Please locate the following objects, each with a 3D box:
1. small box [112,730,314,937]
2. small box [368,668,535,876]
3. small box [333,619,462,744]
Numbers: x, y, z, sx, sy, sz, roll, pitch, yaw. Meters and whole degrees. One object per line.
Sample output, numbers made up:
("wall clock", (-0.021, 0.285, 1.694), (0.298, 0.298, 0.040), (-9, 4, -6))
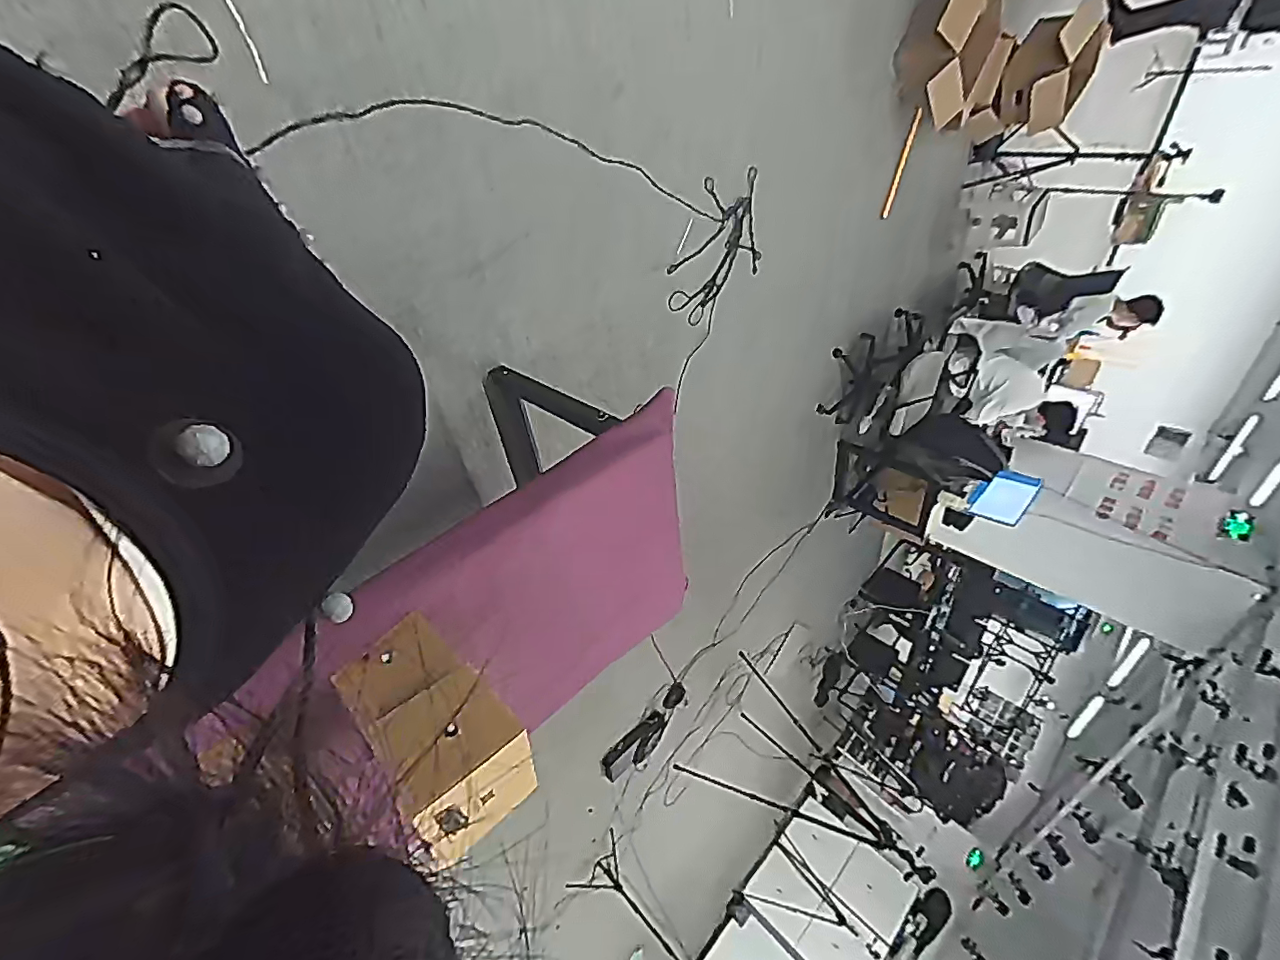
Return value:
("small box", (-0.597, 0.506, 0.771), (0.179, 0.176, 0.168), (-39, 137, -28))
("small box", (-0.284, 0.427, 0.815), (0.179, 0.176, 0.168), (-29, 133, -37))
("small box", (-0.386, 0.374, 0.936), (0.168, 0.176, 0.179), (-41, 139, -26))
